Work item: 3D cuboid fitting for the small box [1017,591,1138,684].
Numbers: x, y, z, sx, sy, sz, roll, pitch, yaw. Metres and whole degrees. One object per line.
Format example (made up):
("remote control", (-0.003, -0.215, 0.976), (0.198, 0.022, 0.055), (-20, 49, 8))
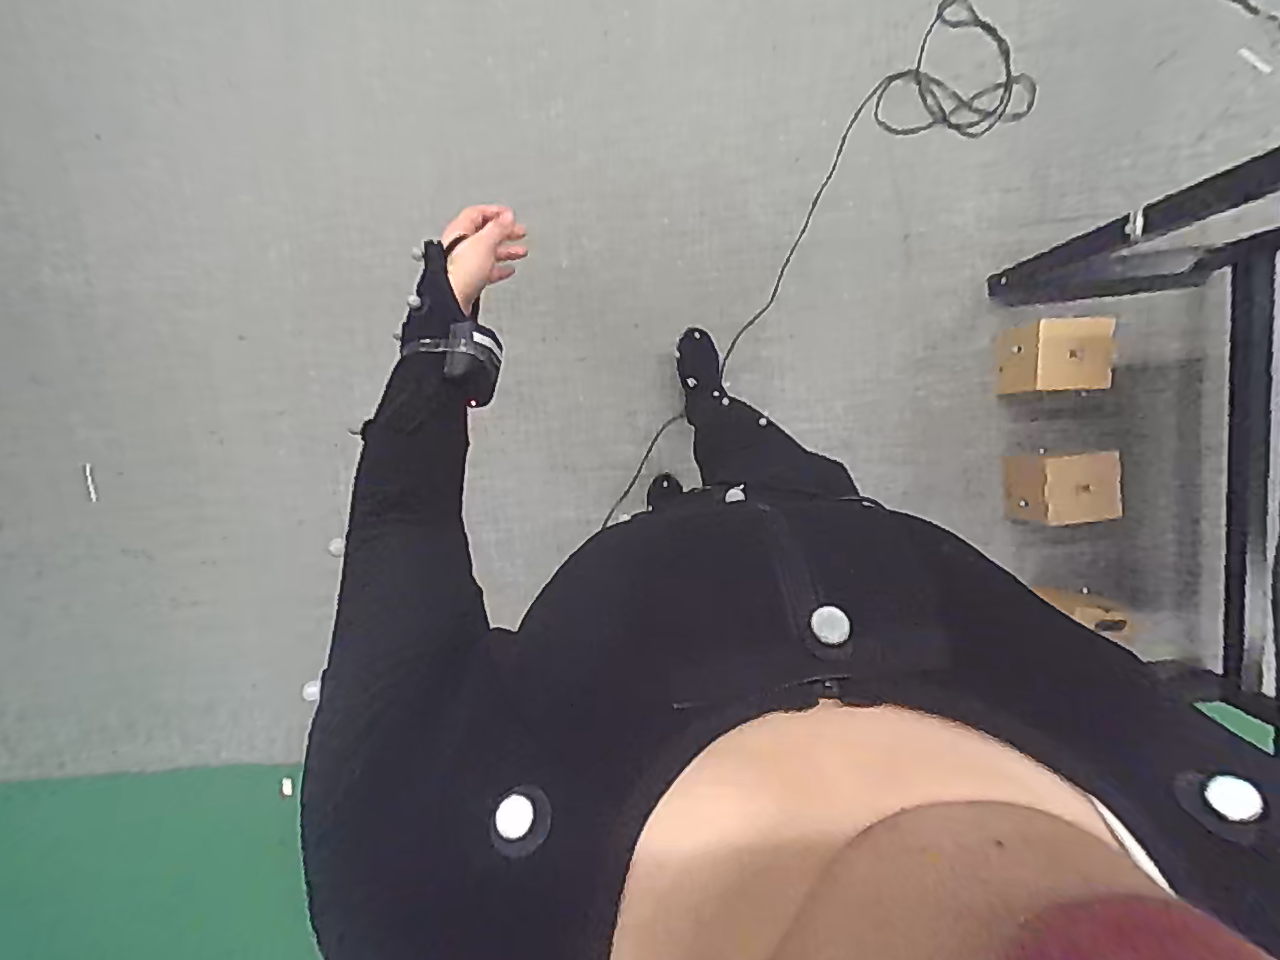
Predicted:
("small box", (1.126, 0.401, 1.406), (0.168, 0.176, 0.179), (8, 97, 1))

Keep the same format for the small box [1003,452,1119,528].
("small box", (1.055, 0.021, 1.373), (0.179, 0.176, 0.168), (-8, 96, 1))

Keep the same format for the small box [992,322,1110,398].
("small box", (1.013, -0.293, 1.347), (0.179, 0.176, 0.168), (-1, 95, 1))
